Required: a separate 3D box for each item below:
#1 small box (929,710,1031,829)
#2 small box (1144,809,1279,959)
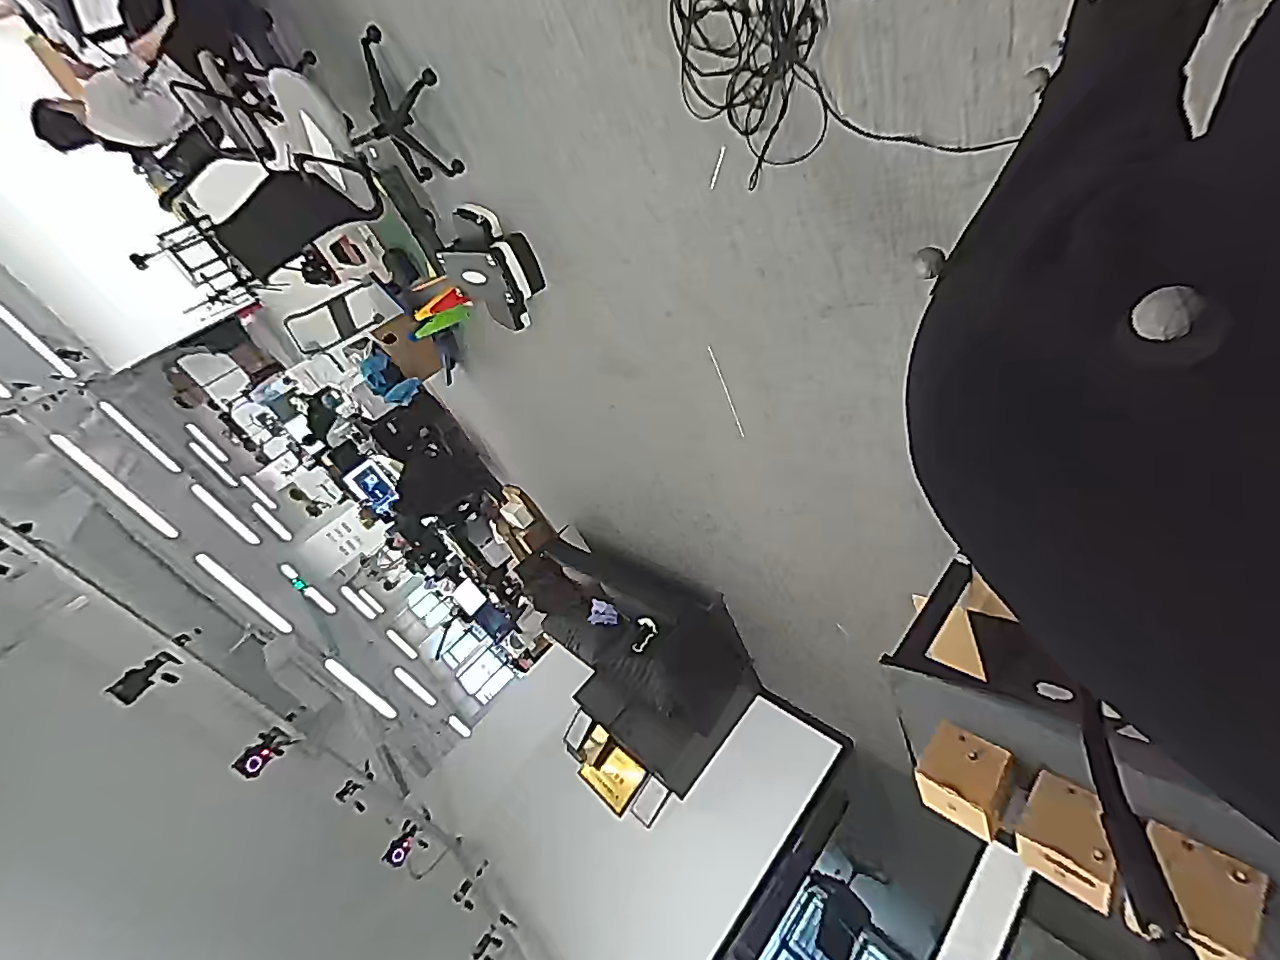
[{"bbox_3d":[0.875,0.733,1.383,0.168,0.176,0.179,15,142,51],"label":"small box"},{"bbox_3d":[1.121,0.793,1.059,0.168,0.176,0.179,15,143,52],"label":"small box"}]
